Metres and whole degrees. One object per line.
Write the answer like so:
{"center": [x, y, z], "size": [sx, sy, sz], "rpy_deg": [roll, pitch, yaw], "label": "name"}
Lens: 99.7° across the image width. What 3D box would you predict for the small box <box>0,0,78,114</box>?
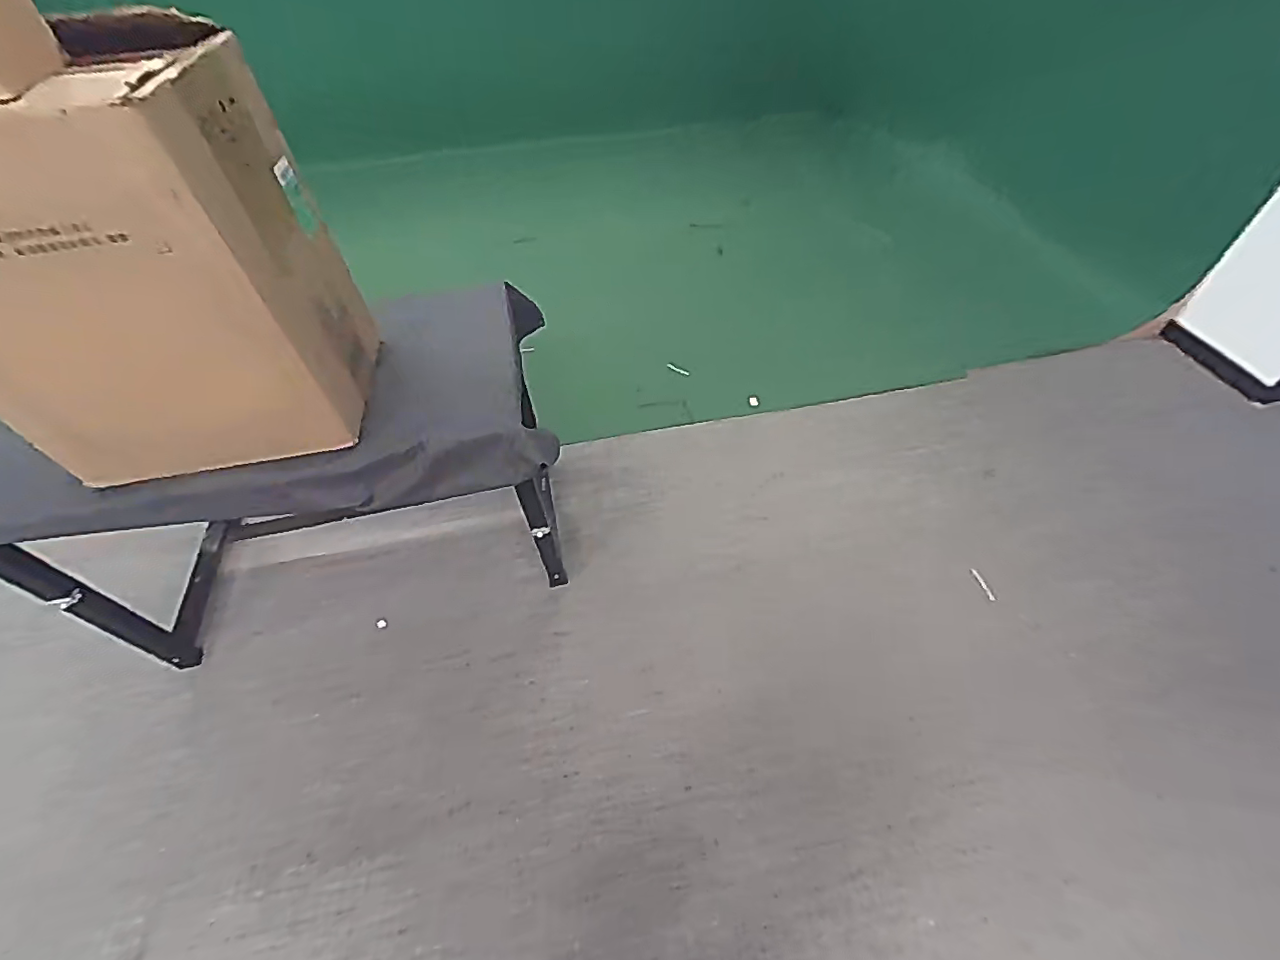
{"center": [-0.864, -0.559, 0.657], "size": [0.168, 0.176, 0.179], "rpy_deg": [-12, 50, -6], "label": "small box"}
